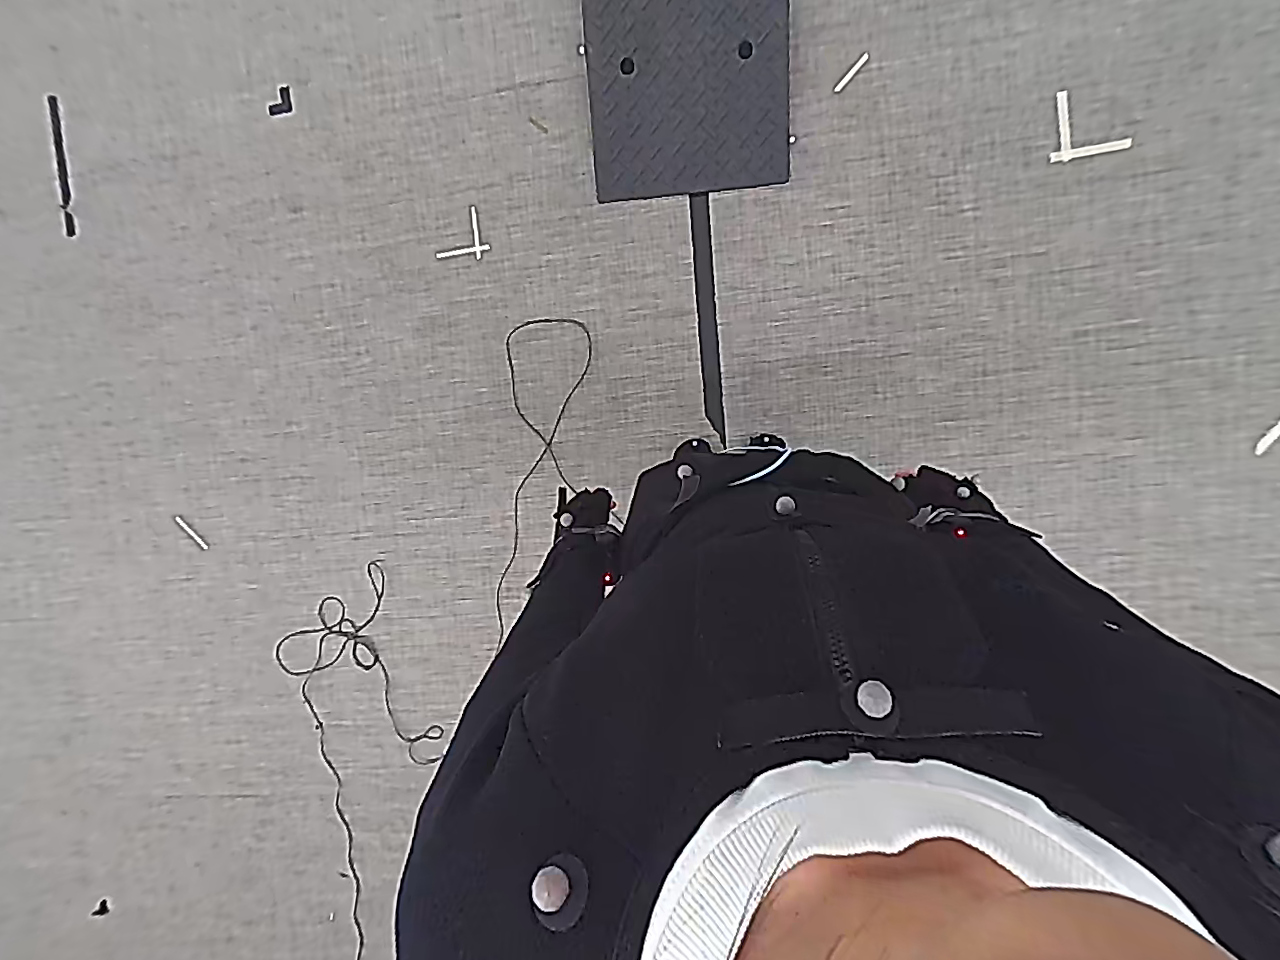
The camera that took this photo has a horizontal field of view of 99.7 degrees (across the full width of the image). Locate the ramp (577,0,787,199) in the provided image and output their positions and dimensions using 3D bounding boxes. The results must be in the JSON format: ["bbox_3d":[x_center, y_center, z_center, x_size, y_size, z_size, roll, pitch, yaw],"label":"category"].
[{"bbox_3d":[0.088,-1.224,1.251,0.509,0.206,0.991,-4,95,6],"label":"ramp"}]
